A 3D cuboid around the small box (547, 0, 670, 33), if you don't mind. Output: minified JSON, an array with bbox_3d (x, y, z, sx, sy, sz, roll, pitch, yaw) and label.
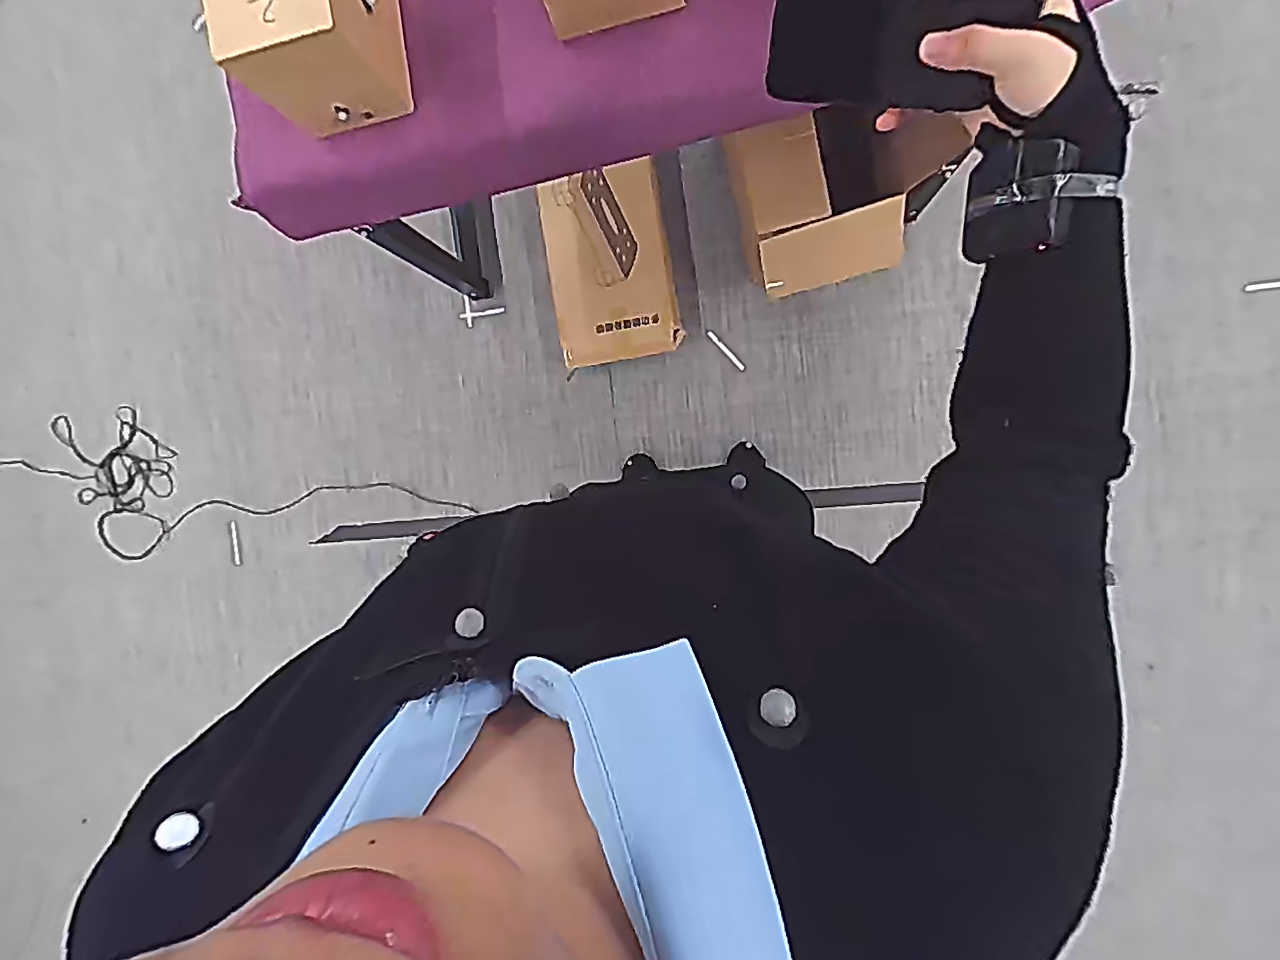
[{"bbox_3d":[-0.046,-0.686,0.636,0.179,0.176,0.168,-8,90,9],"label":"small box"}]
